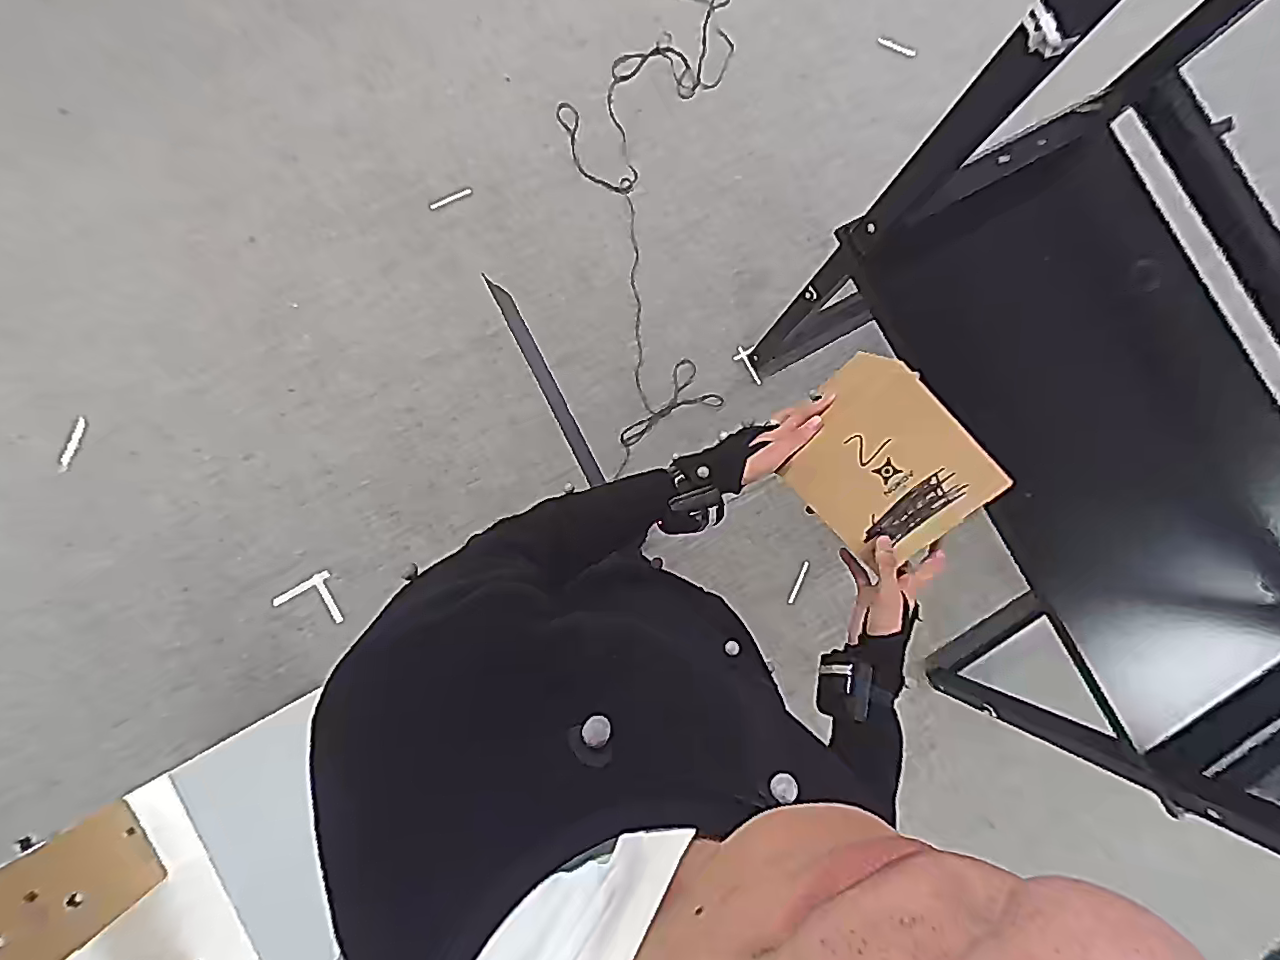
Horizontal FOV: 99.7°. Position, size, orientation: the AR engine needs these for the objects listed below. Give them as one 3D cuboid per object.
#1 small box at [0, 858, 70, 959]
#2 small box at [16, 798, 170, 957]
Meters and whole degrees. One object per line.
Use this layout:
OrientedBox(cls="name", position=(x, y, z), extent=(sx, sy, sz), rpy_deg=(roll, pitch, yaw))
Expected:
OrientedBox(cls="small box", position=(-0.932, 0.660, 0.718), extent=(0.179, 0.176, 0.168), rpy_deg=(-30, 88, -5))
OrientedBox(cls="small box", position=(-0.943, 0.671, 0.882), extent=(0.179, 0.176, 0.168), rpy_deg=(-31, 89, -5))
